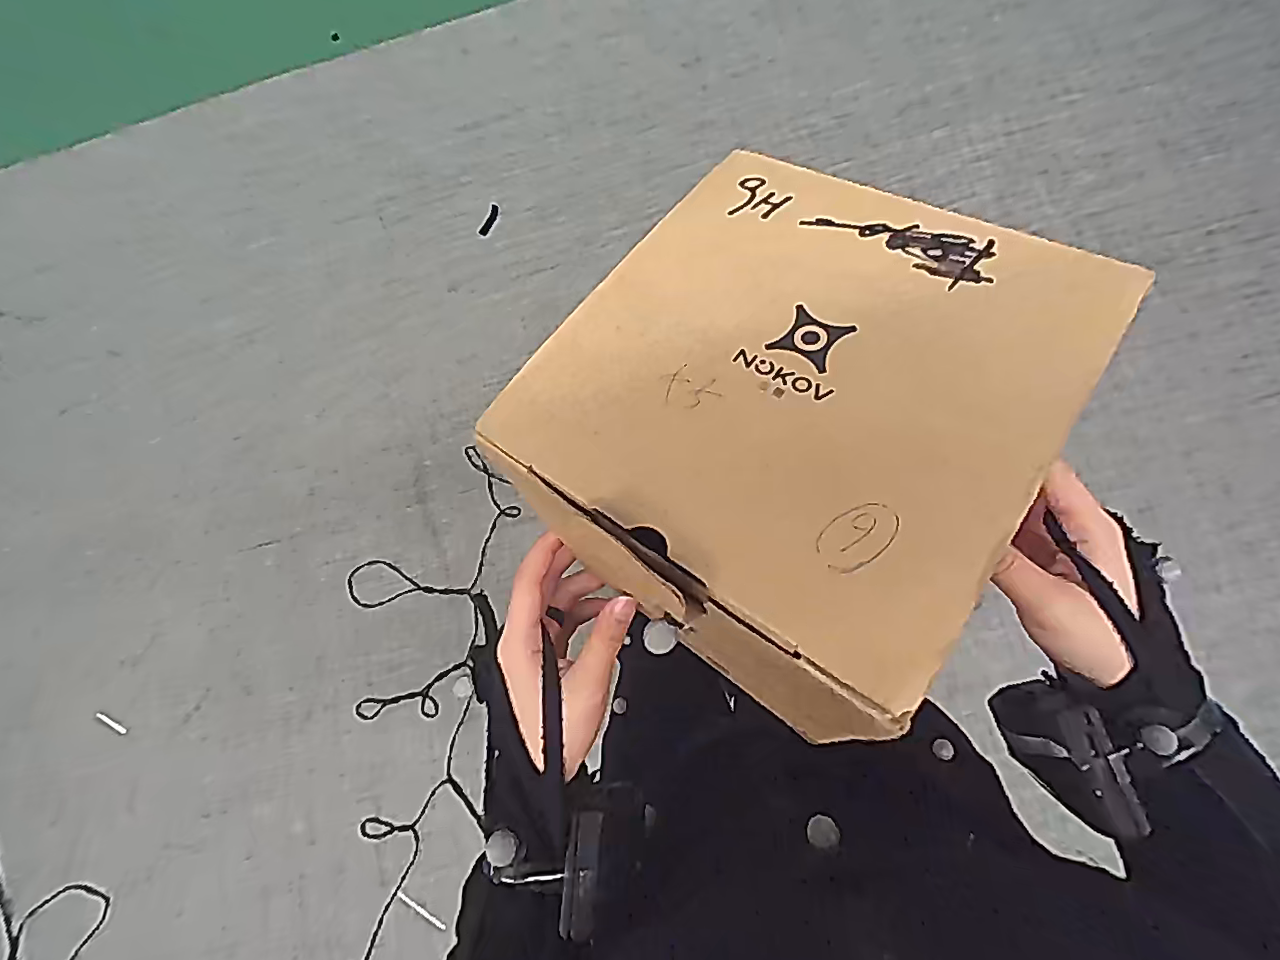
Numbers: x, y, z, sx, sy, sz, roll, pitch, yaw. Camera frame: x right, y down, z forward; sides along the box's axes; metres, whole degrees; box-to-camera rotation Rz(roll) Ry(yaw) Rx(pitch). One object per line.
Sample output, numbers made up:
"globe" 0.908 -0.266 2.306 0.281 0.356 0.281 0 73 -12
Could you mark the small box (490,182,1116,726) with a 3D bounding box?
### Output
"small box" 0.068 0.000 0.270 0.168 0.176 0.179 32 74 23
